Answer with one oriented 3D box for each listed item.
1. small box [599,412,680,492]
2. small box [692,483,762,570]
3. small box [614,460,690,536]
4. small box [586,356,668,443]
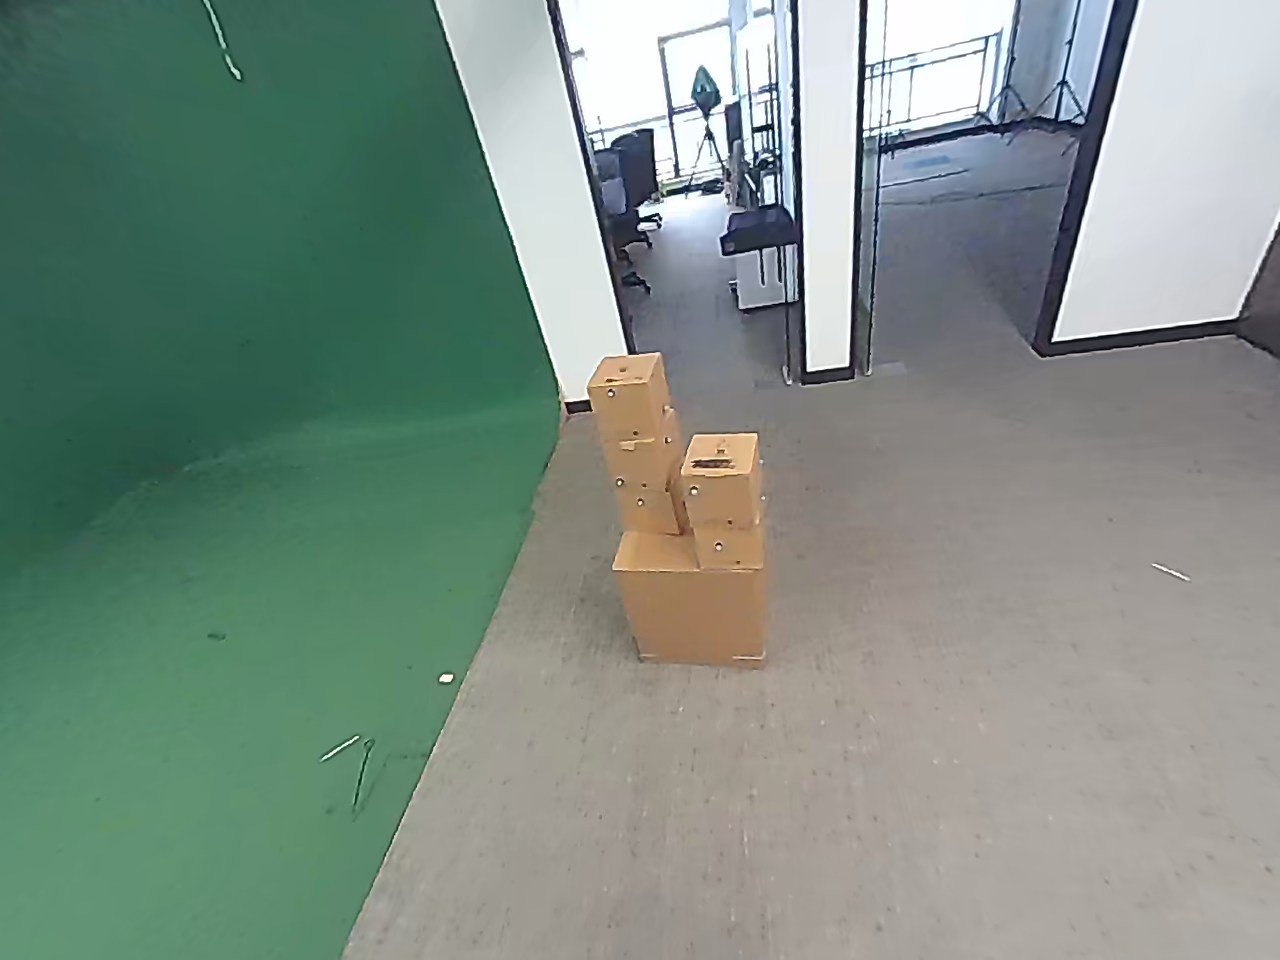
[{"bbox_3d":[0.007,-0.080,1.548,0.168,0.176,0.179,3,37,23],"label":"small box"},{"bbox_3d":[0.241,0.129,1.464,0.168,0.176,0.179,-3,36,14],"label":"small box"},{"bbox_3d":[0.043,0.053,1.639,0.179,0.176,0.168,2,38,20],"label":"small box"},{"bbox_3d":[-0.027,-0.216,1.460,0.168,0.176,0.179,-3,35,18],"label":"small box"}]
